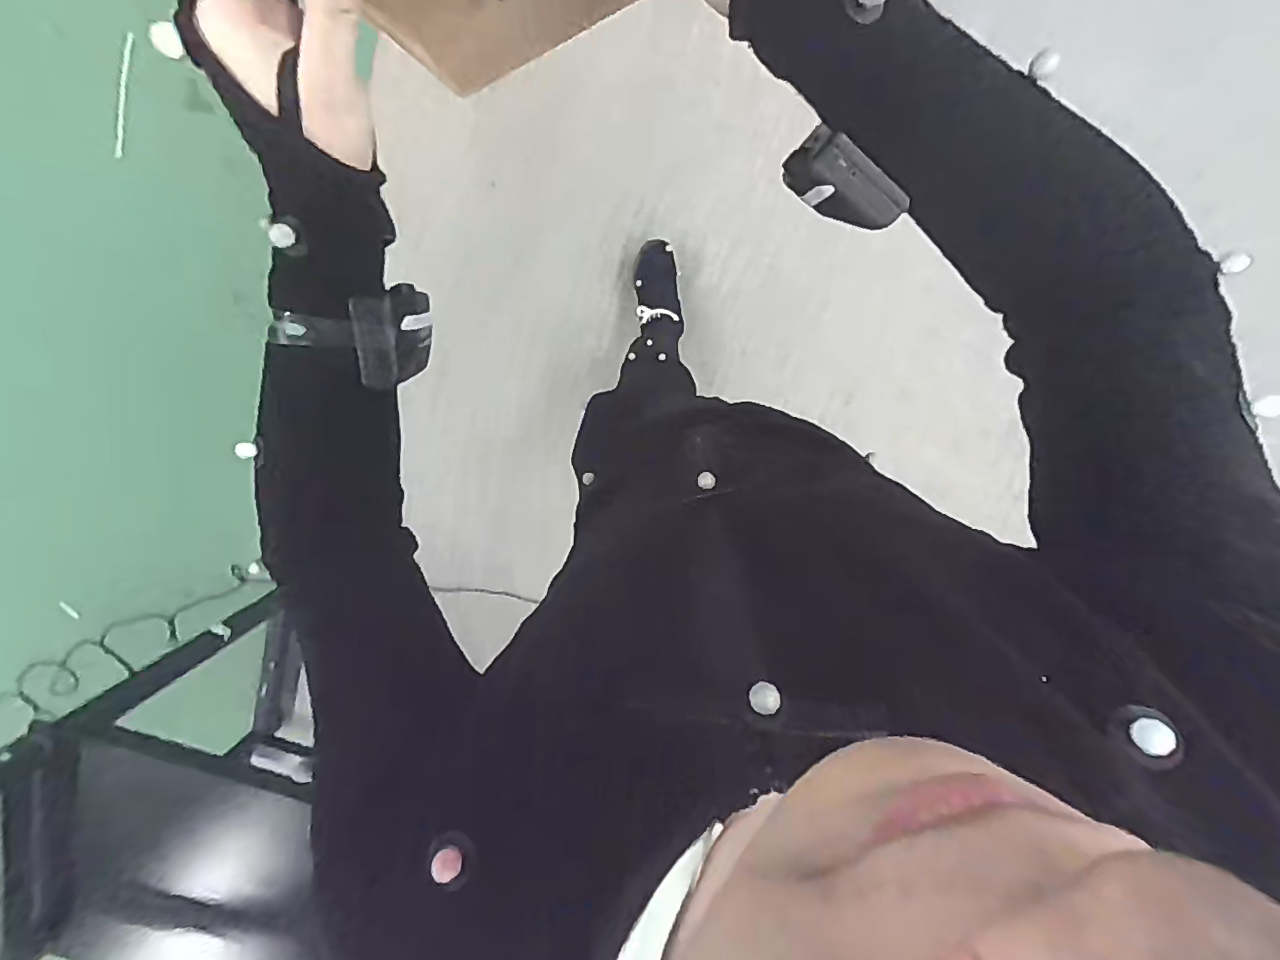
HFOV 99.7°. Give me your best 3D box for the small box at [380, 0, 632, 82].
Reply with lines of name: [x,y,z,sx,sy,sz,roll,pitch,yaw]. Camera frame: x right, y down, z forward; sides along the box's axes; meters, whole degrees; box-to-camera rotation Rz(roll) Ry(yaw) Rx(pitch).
small box: [-0.092,-0.363,0.288,0.179,0.176,0.168,-18,102,14]
